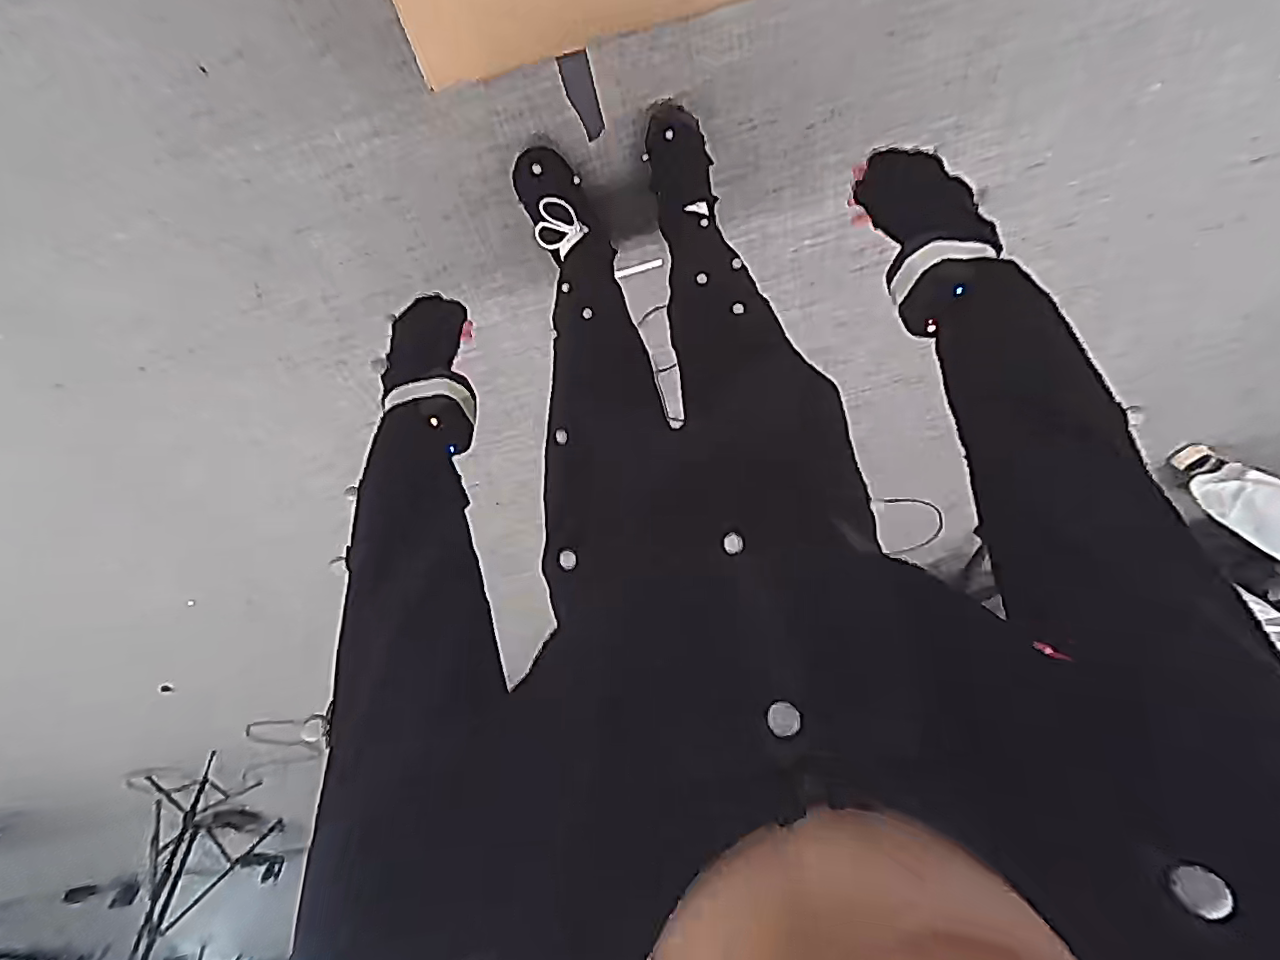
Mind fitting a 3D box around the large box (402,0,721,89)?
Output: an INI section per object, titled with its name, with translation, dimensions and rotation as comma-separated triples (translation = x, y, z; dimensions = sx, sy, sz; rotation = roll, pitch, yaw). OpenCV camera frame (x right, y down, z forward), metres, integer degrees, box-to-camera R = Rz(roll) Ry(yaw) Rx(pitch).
[large box]
translation = -0.103, -0.723, 0.632
dimensions = 0.408, 0.320, 0.320
rotation = -13, 136, 5
